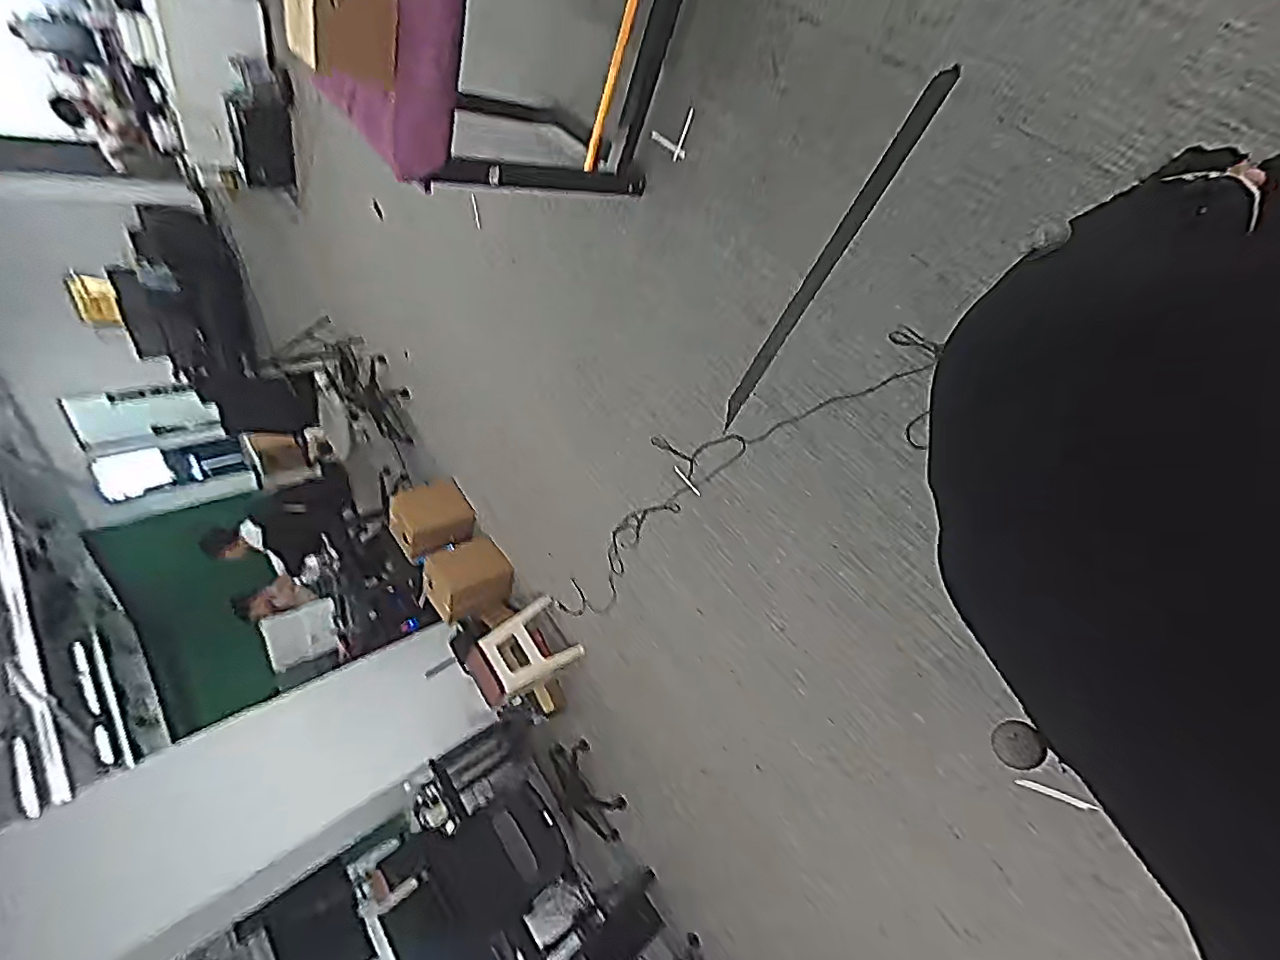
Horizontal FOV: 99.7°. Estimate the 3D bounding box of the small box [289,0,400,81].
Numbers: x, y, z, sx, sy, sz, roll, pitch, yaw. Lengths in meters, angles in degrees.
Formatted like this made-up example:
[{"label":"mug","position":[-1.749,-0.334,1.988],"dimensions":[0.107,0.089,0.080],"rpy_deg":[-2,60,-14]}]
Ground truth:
[{"label":"small box","position":[-0.635,-1.006,1.167],"dimensions":[0.168,0.176,0.179],"rpy_deg":[47,134,24]}]
